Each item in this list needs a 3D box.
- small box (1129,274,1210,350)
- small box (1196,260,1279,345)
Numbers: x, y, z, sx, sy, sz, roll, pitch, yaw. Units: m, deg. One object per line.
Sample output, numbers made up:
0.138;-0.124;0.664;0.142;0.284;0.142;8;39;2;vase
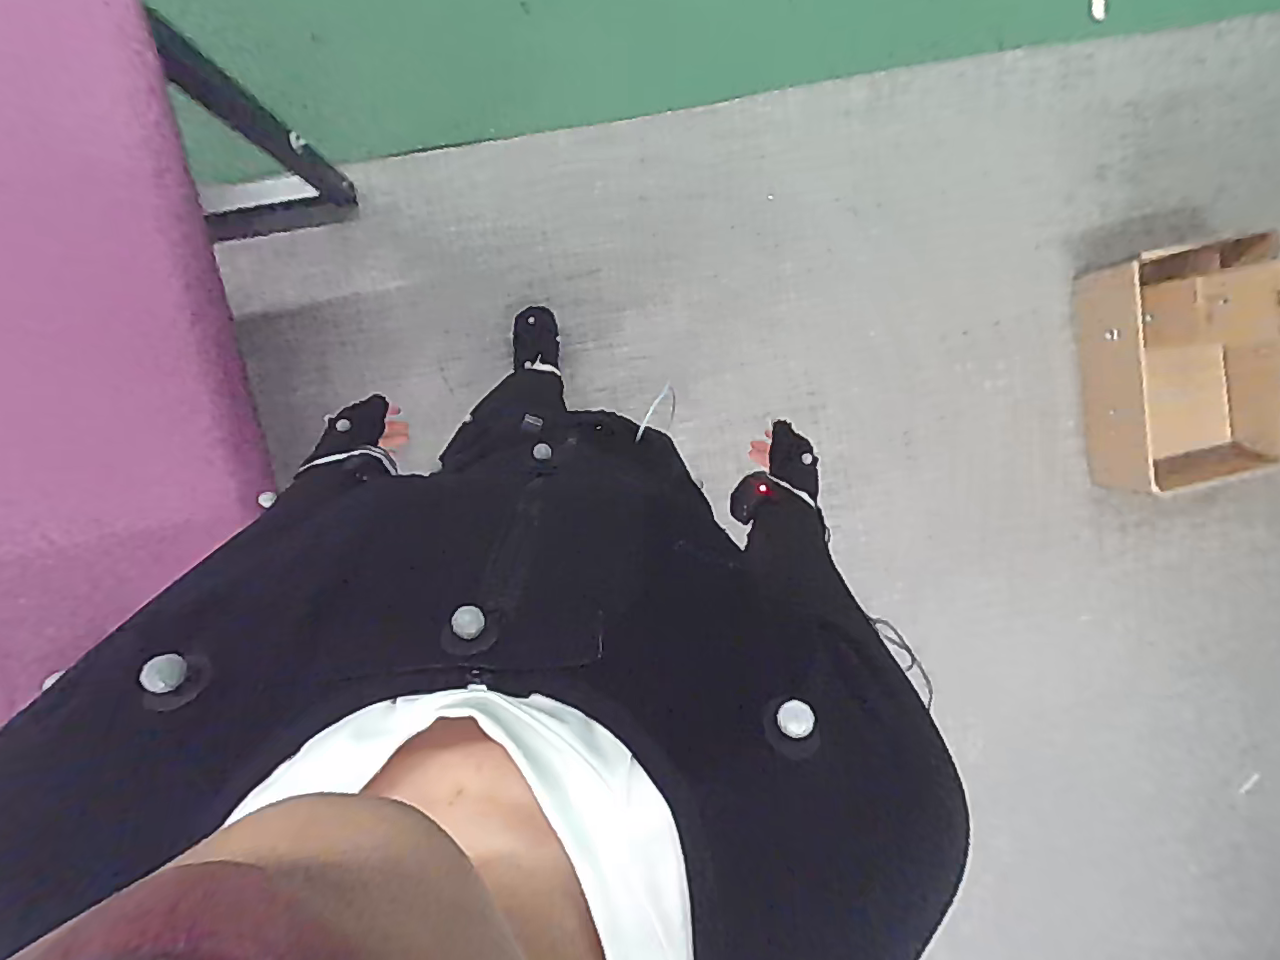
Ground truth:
1.418;-0.435;1.390;0.179;0.176;0.168;-12;99;-3;small box
1.435;-0.411;1.230;0.179;0.176;0.168;-13;100;-3;small box
